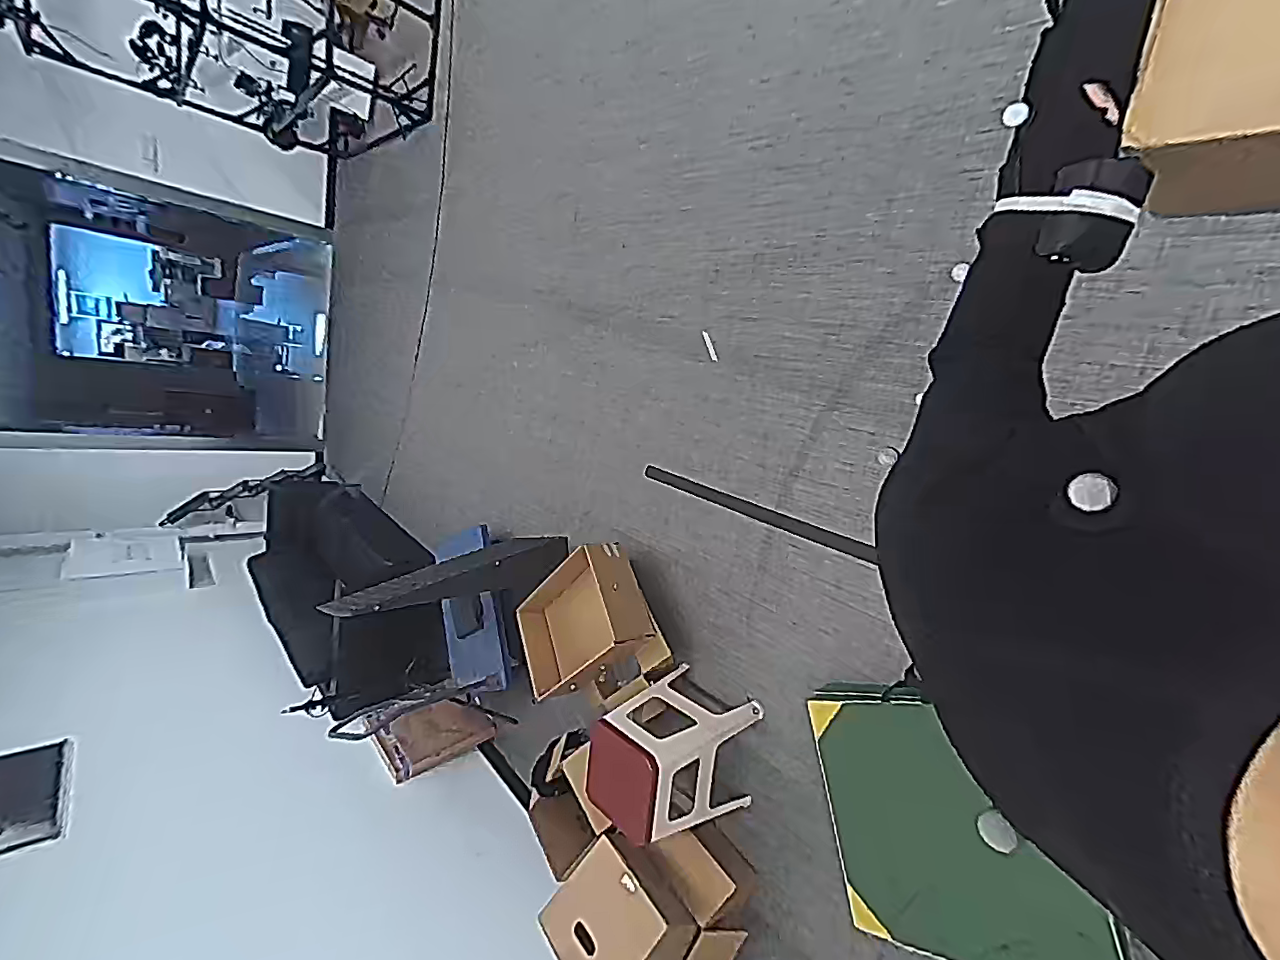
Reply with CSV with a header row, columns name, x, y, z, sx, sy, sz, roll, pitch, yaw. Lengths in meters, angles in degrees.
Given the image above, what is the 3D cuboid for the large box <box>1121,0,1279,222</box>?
name,x,y,z,sx,sy,sz,roll,pitch,yaw
large box,0.594,-0.358,0.317,0.408,0.320,0.320,19,114,42
